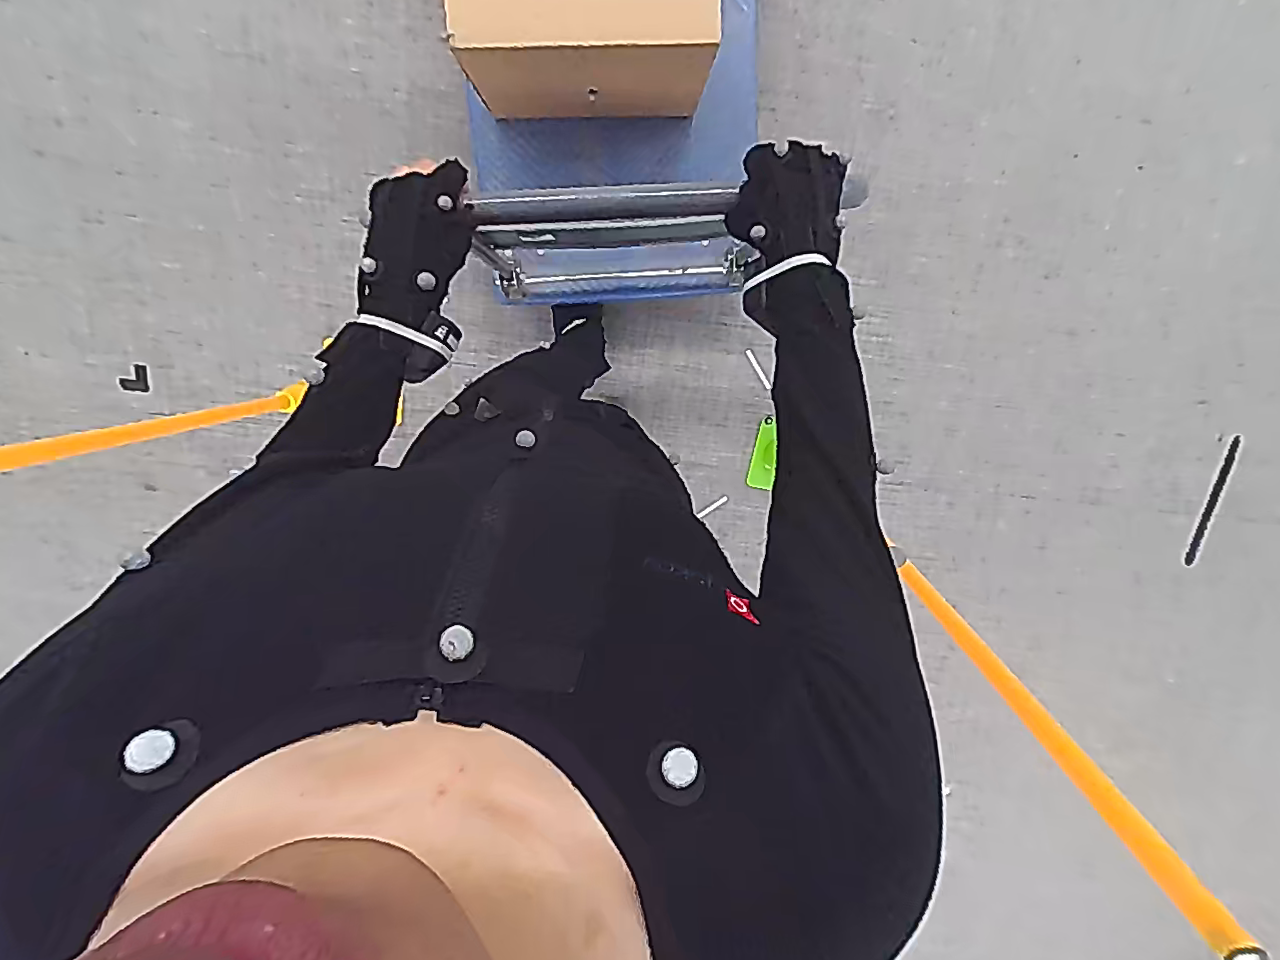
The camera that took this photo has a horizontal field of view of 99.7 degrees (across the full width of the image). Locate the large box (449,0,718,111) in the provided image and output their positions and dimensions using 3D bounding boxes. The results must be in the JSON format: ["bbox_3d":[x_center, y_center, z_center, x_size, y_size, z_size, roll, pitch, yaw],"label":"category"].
[{"bbox_3d":[-0.089,-0.847,0.906,0.408,0.320,0.320,-2,107,-1],"label":"large box"}]

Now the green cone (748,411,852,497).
[{"bbox_3d":[0.417,-0.030,1.318,0.202,0.368,0.200,10,106,-6],"label":"green cone"}]
